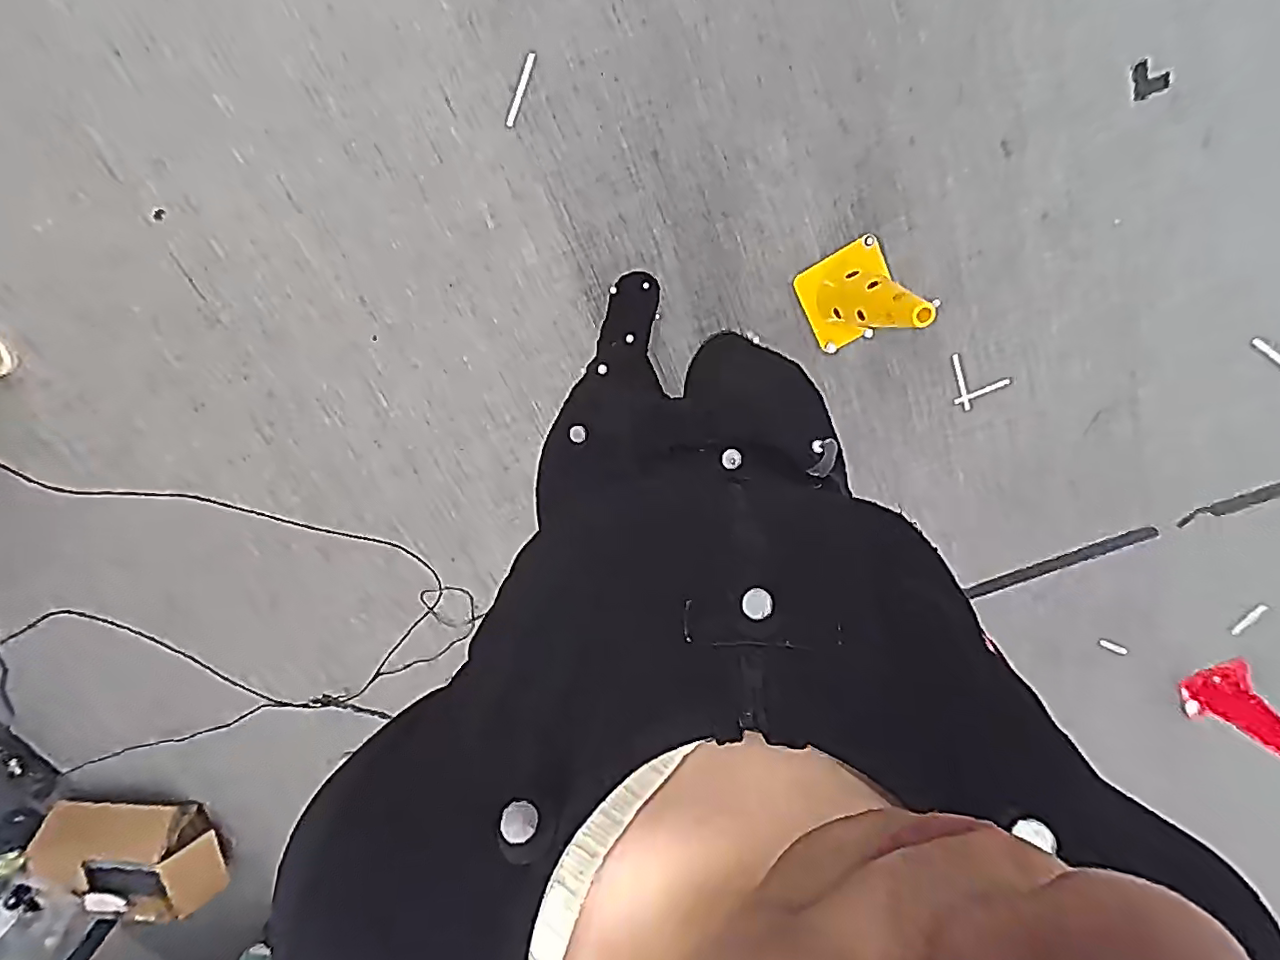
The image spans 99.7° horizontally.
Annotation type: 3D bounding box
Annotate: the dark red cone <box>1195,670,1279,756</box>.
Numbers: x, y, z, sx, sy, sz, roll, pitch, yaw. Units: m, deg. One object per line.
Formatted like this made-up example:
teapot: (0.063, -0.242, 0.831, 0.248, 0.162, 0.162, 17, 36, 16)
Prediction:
dark red cone: (1.865, 0.753, 1.547, 0.202, 0.394, 0.201, -30, 109, 11)
